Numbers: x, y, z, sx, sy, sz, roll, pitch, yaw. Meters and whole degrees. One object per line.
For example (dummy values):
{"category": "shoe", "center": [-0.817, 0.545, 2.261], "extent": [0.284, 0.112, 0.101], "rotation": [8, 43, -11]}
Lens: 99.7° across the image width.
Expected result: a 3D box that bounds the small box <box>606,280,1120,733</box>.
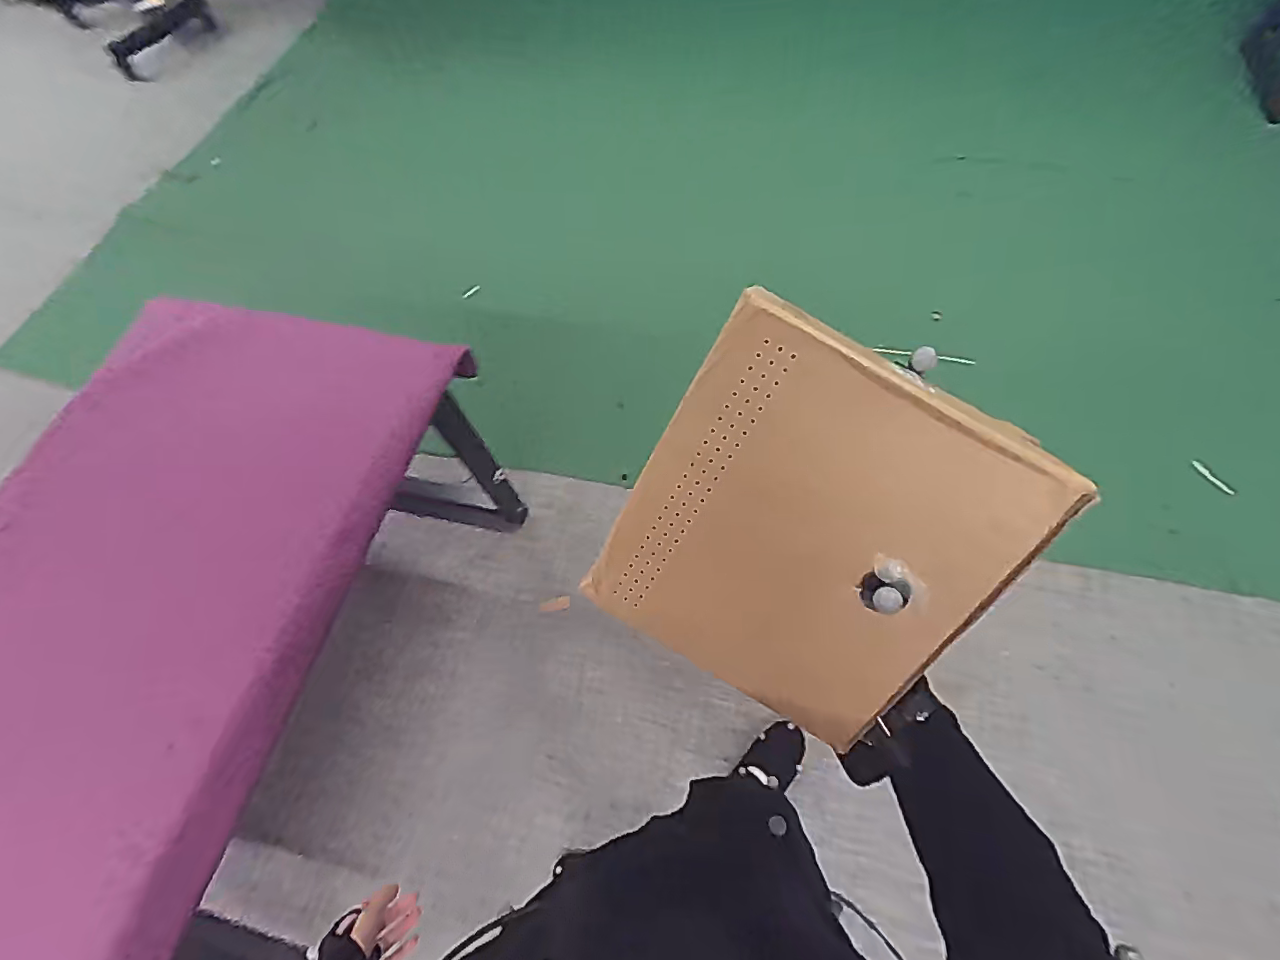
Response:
{"category": "small box", "center": [0.103, -0.001, 0.325], "extent": [0.176, 0.168, 0.179], "rotation": [32, 113, 3]}
